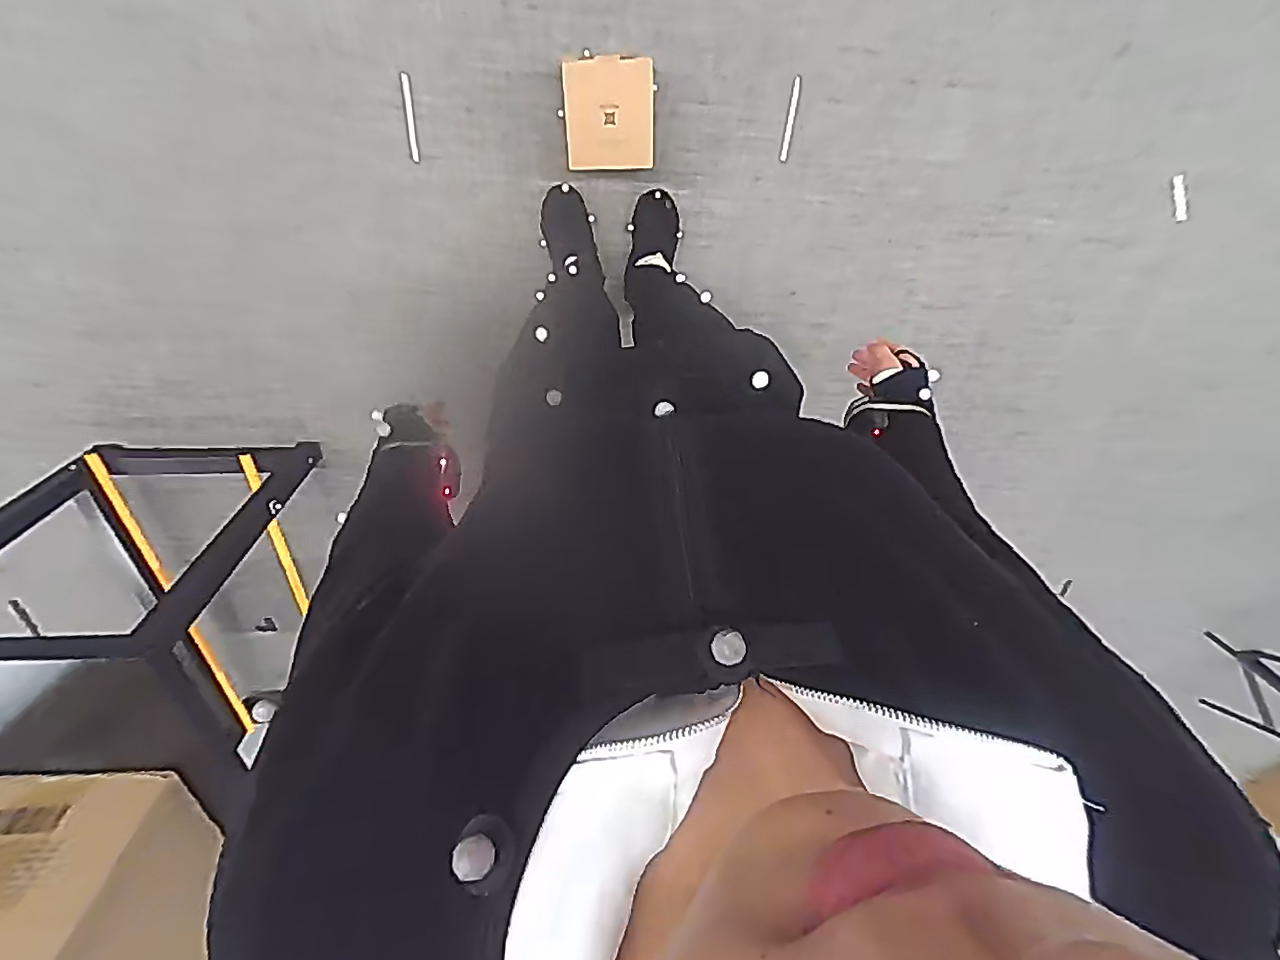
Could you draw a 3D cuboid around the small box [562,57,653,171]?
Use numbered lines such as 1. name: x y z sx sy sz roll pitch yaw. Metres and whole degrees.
1. small box: -0.064 -0.718 1.067 0.168 0.176 0.179 -3 125 -2
